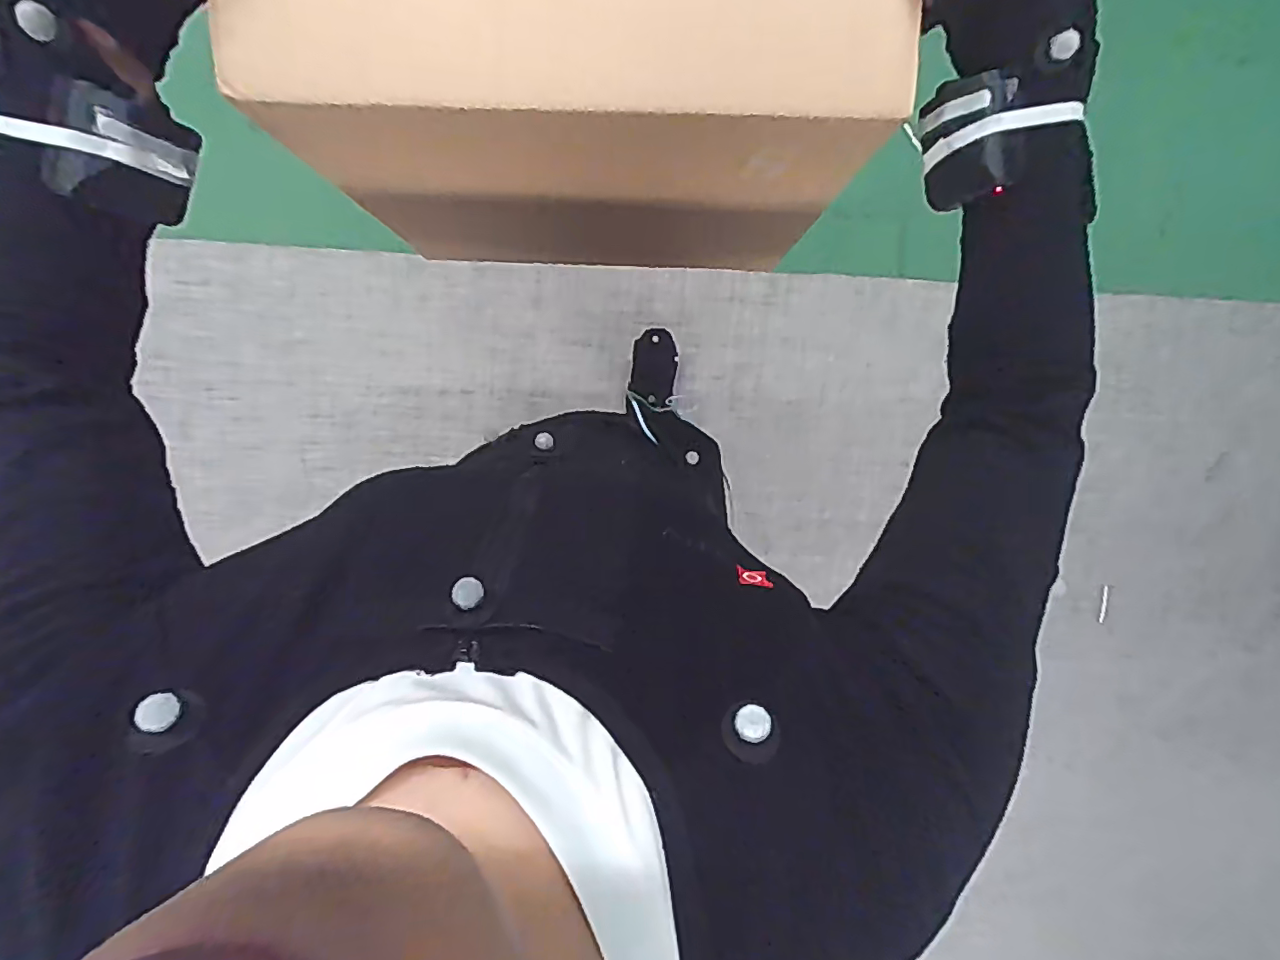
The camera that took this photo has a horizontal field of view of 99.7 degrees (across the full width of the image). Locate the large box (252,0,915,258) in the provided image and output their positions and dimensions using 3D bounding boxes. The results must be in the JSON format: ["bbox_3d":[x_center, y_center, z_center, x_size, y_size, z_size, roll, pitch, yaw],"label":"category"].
[{"bbox_3d":[-0.034,-0.394,0.462,0.408,0.320,0.320,1,96,-1],"label":"large box"}]
